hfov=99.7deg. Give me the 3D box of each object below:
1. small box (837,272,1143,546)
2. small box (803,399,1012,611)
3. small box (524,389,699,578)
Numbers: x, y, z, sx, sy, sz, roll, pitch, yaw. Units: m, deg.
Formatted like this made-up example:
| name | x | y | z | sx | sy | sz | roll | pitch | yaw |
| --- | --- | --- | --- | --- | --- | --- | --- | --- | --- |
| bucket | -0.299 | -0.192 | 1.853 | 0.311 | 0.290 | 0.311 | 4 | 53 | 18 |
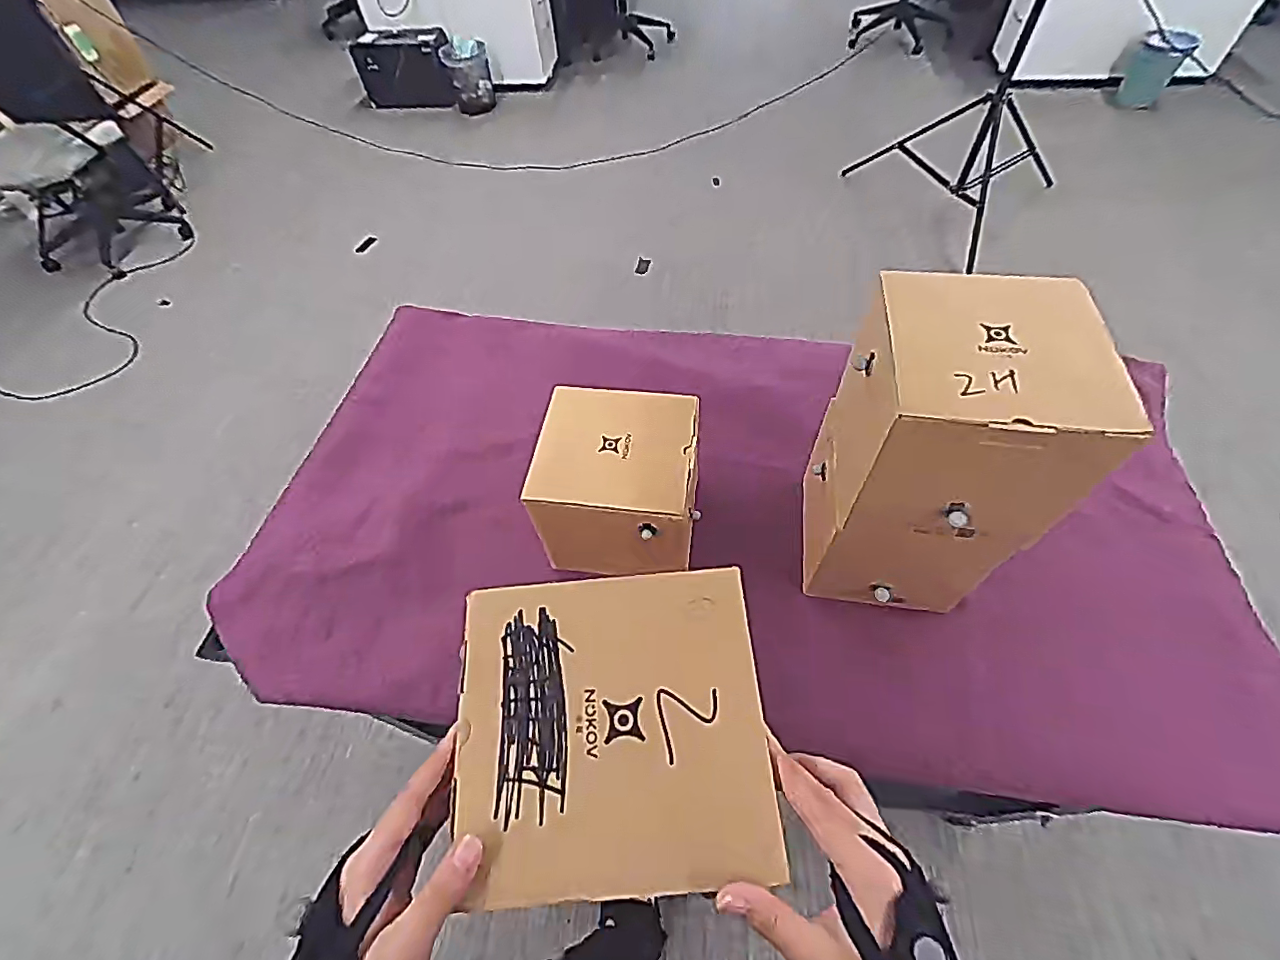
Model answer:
| name | x | y | z | sx | sy | sz | roll | pitch | yaw |
| --- | --- | --- | --- | --- | --- | --- | --- | --- | --- |
| small box | 0.284 | -0.062 | 0.494 | 0.168 | 0.176 | 0.179 | 6 | 56 | 9 |
| small box | 0.288 | 0.032 | 0.630 | 0.168 | 0.176 | 0.179 | 6 | 56 | 8 |
| small box | -0.023 | 0.008 | 0.668 | 0.179 | 0.176 | 0.168 | 5 | 56 | 7 |
